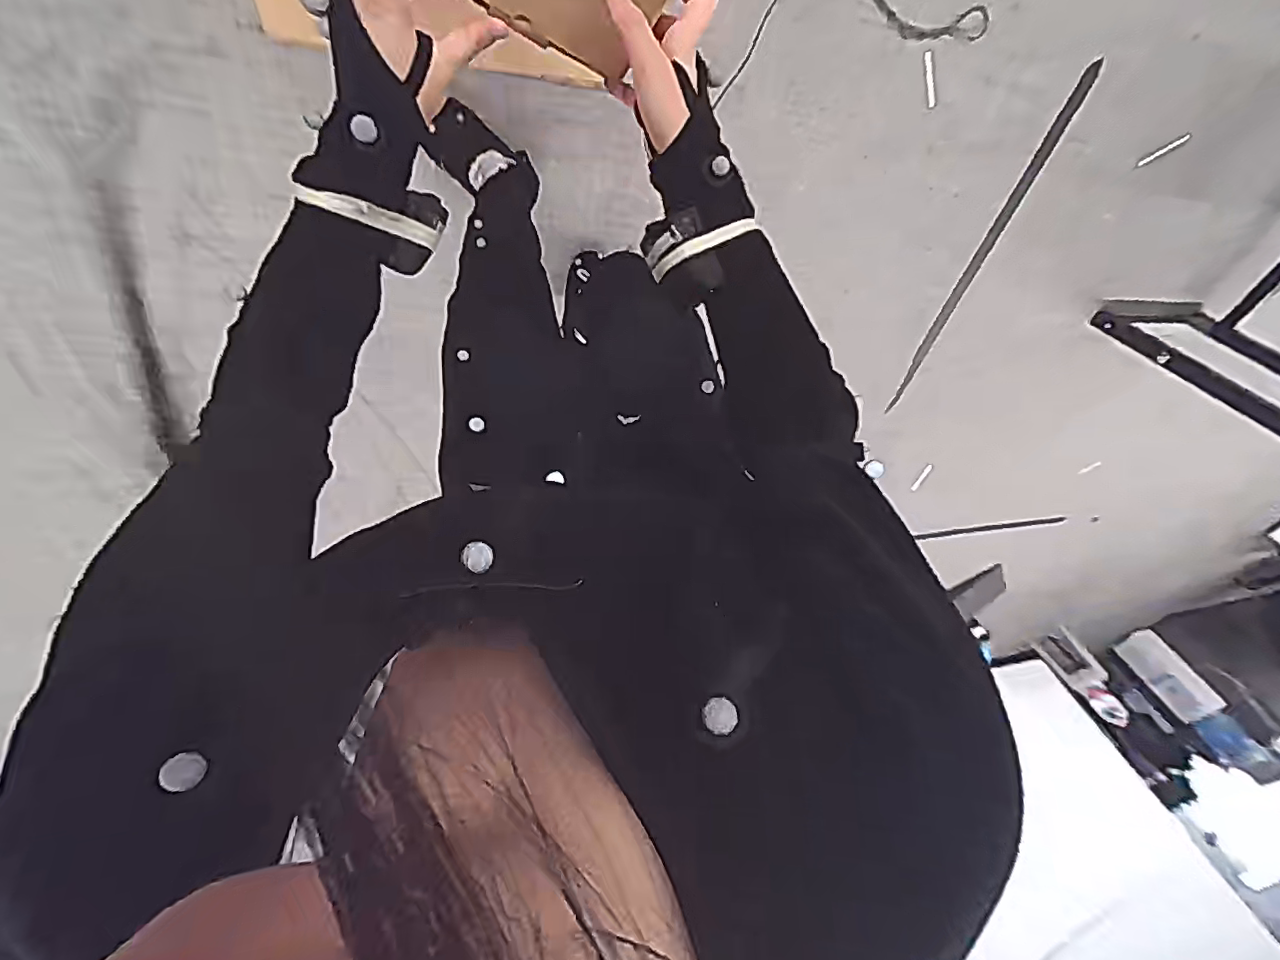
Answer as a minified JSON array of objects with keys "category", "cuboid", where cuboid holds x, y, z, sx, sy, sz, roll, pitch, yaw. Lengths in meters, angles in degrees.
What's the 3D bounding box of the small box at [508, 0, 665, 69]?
[{"category":"small box","cuboid":[-0.045,-0.418,0.323,0.168,0.176,0.179,3,154,-37]}]
